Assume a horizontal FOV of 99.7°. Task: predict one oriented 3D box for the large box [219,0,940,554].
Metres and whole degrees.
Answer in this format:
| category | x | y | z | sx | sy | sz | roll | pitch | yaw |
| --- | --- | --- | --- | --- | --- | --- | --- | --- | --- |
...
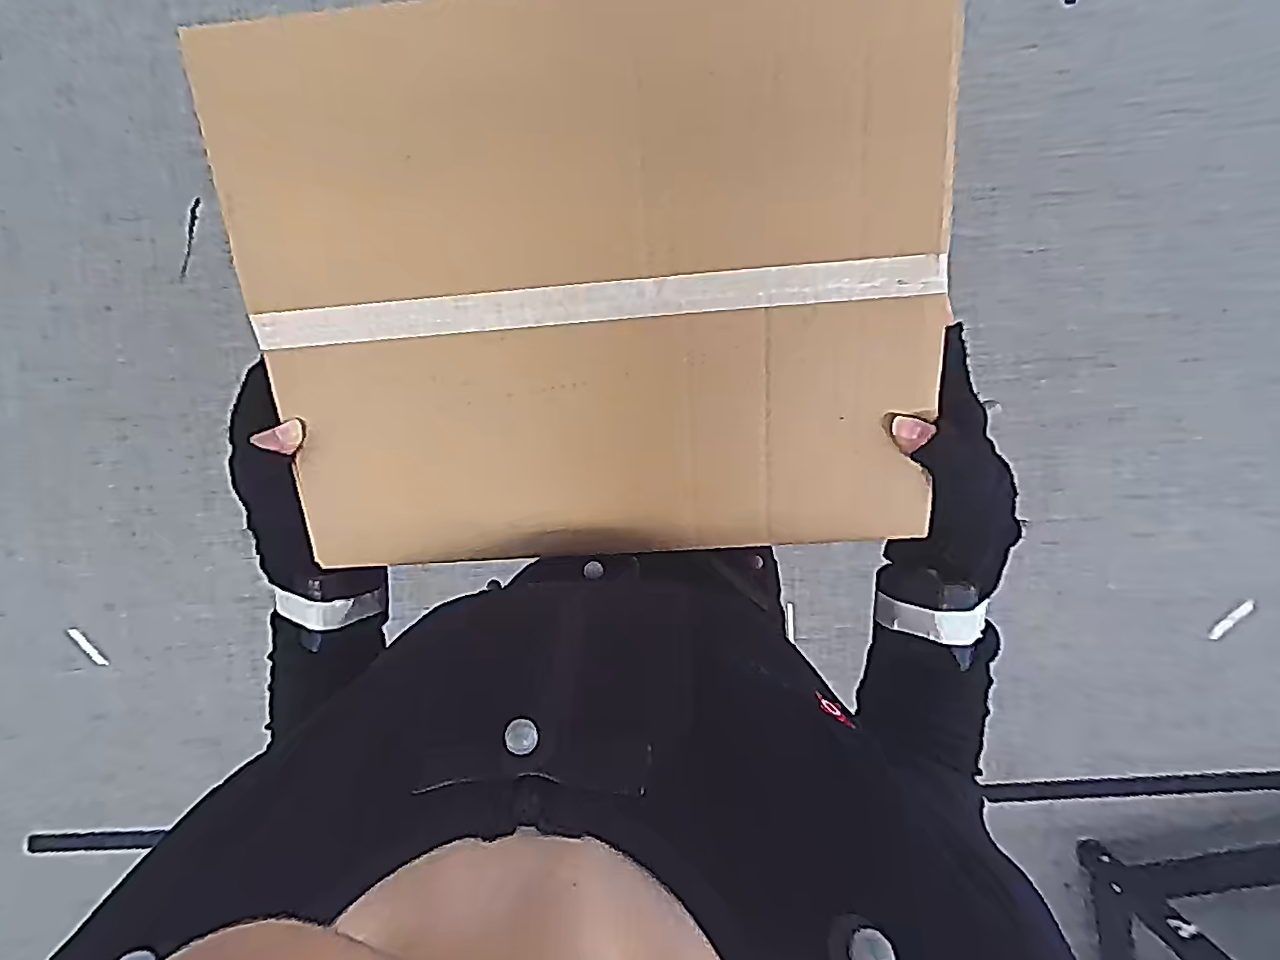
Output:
| category | x | y | z | sx | sy | sz | roll | pitch | yaw |
| --- | --- | --- | --- | --- | --- | --- | --- | --- | --- |
| large box | -0.024 | -0.147 | 0.471 | 0.408 | 0.320 | 0.320 | -4 | 106 | 3 |
